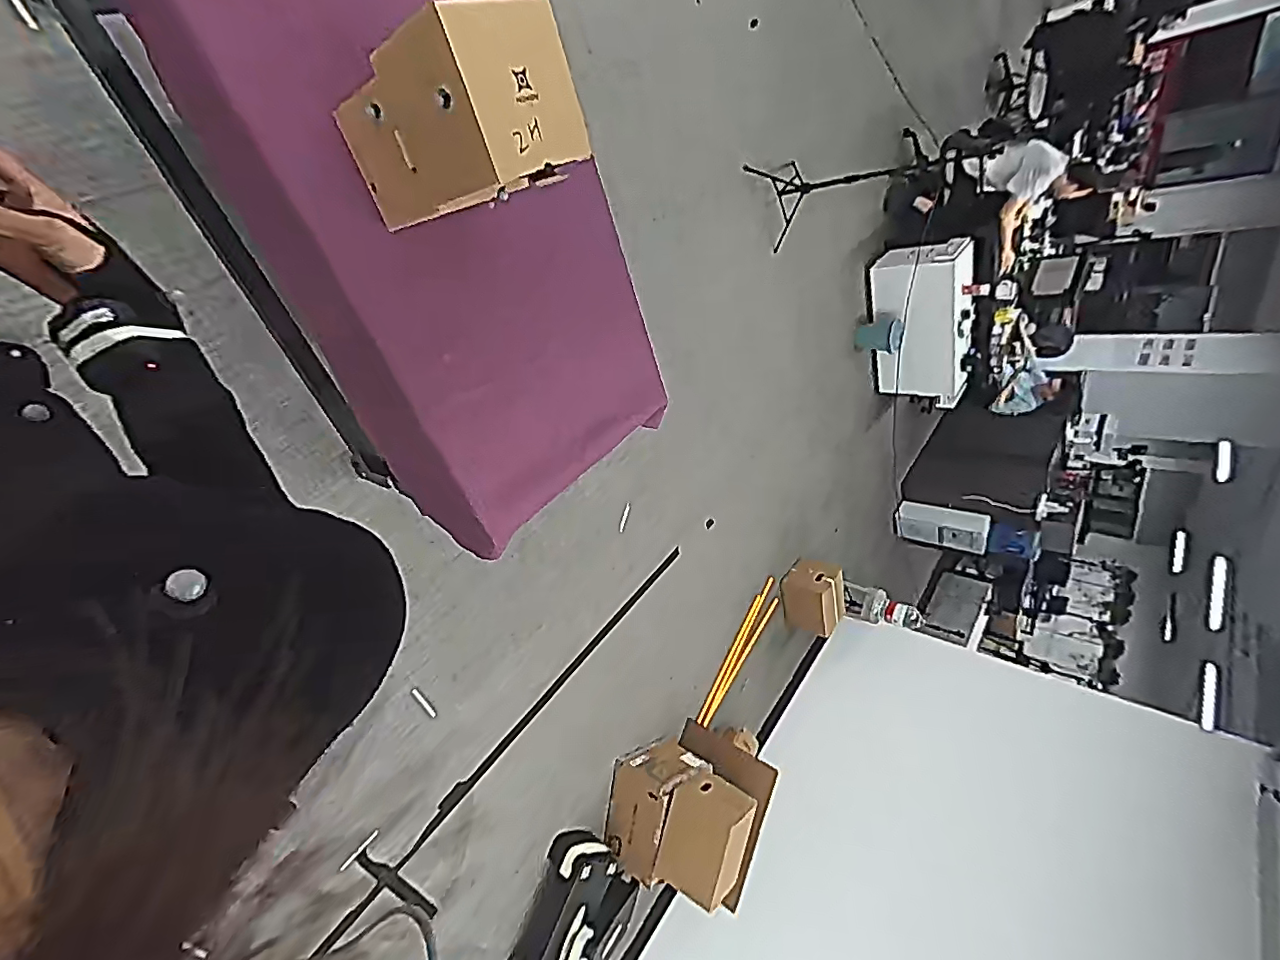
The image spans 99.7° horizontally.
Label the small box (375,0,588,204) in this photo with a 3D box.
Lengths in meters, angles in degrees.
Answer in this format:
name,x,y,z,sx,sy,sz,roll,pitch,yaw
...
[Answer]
name,x,y,z,sx,sy,sz,roll,pitch,yaw
small box,-0.202,-0.480,0.695,0.168,0.176,0.179,-41,127,-34
